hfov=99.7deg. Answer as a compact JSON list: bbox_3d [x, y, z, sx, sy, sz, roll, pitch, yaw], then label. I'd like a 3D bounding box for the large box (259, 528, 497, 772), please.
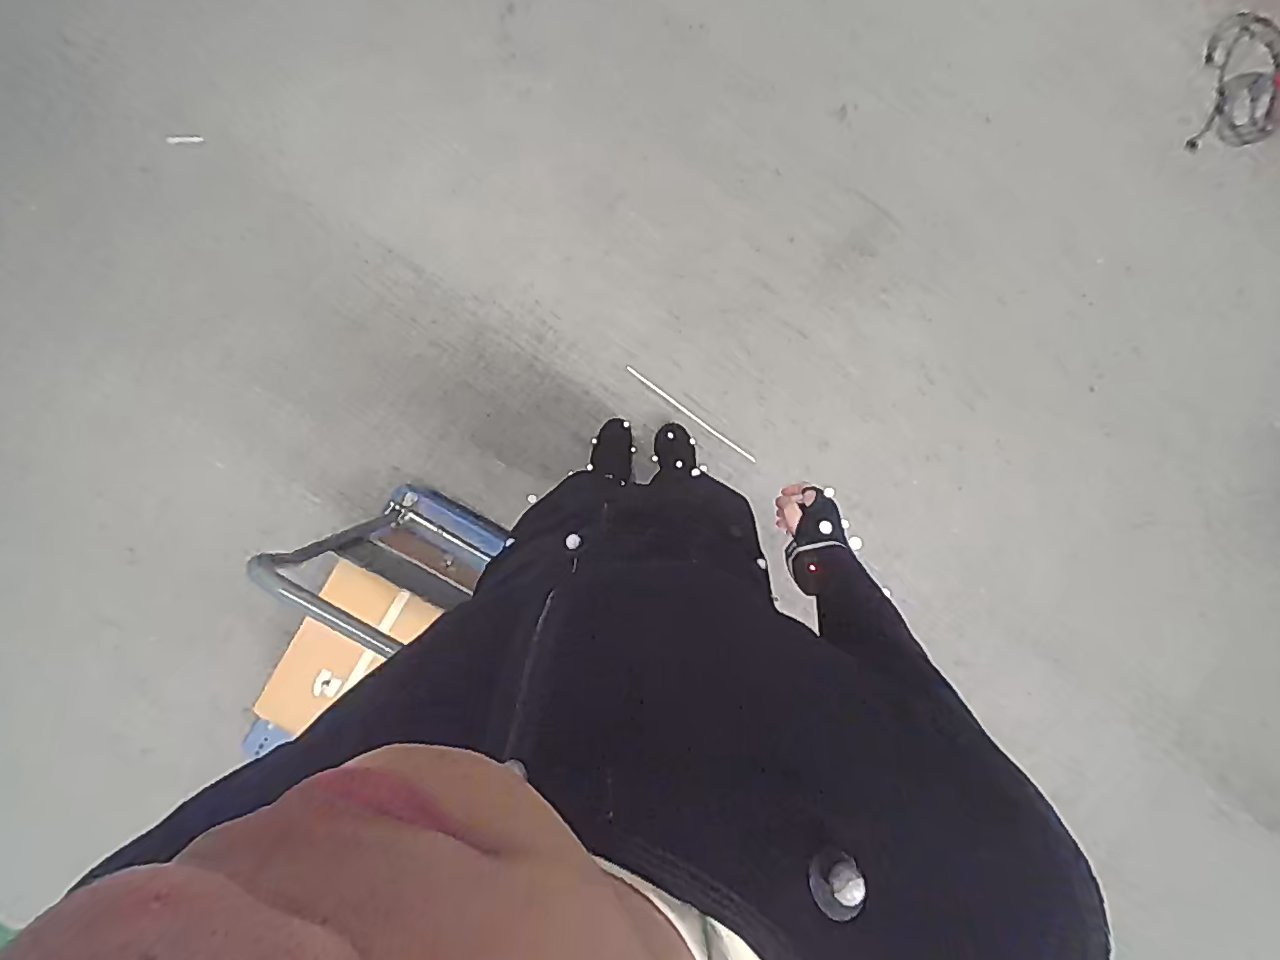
[{"bbox_3d":[-0.598,0.383,1.309,0.320,0.320,0.408,32,93,-6],"label":"large box"}]
